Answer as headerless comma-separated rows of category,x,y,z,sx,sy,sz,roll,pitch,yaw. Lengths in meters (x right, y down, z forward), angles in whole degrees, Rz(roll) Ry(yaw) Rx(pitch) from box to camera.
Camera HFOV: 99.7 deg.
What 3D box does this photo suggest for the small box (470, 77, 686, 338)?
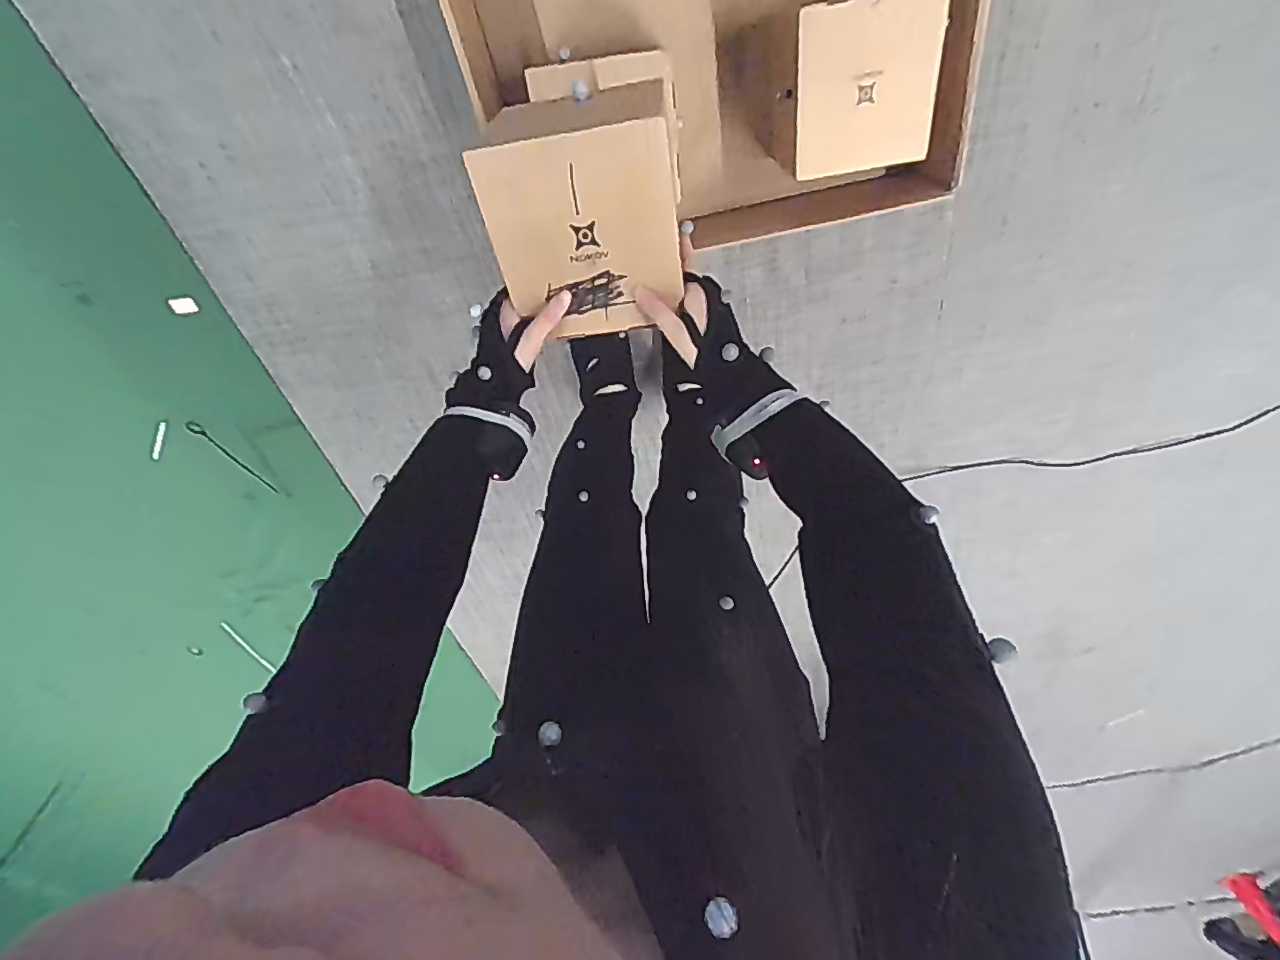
small box,-0.042,-0.269,0.539,0.168,0.176,0.179,-6,135,7
